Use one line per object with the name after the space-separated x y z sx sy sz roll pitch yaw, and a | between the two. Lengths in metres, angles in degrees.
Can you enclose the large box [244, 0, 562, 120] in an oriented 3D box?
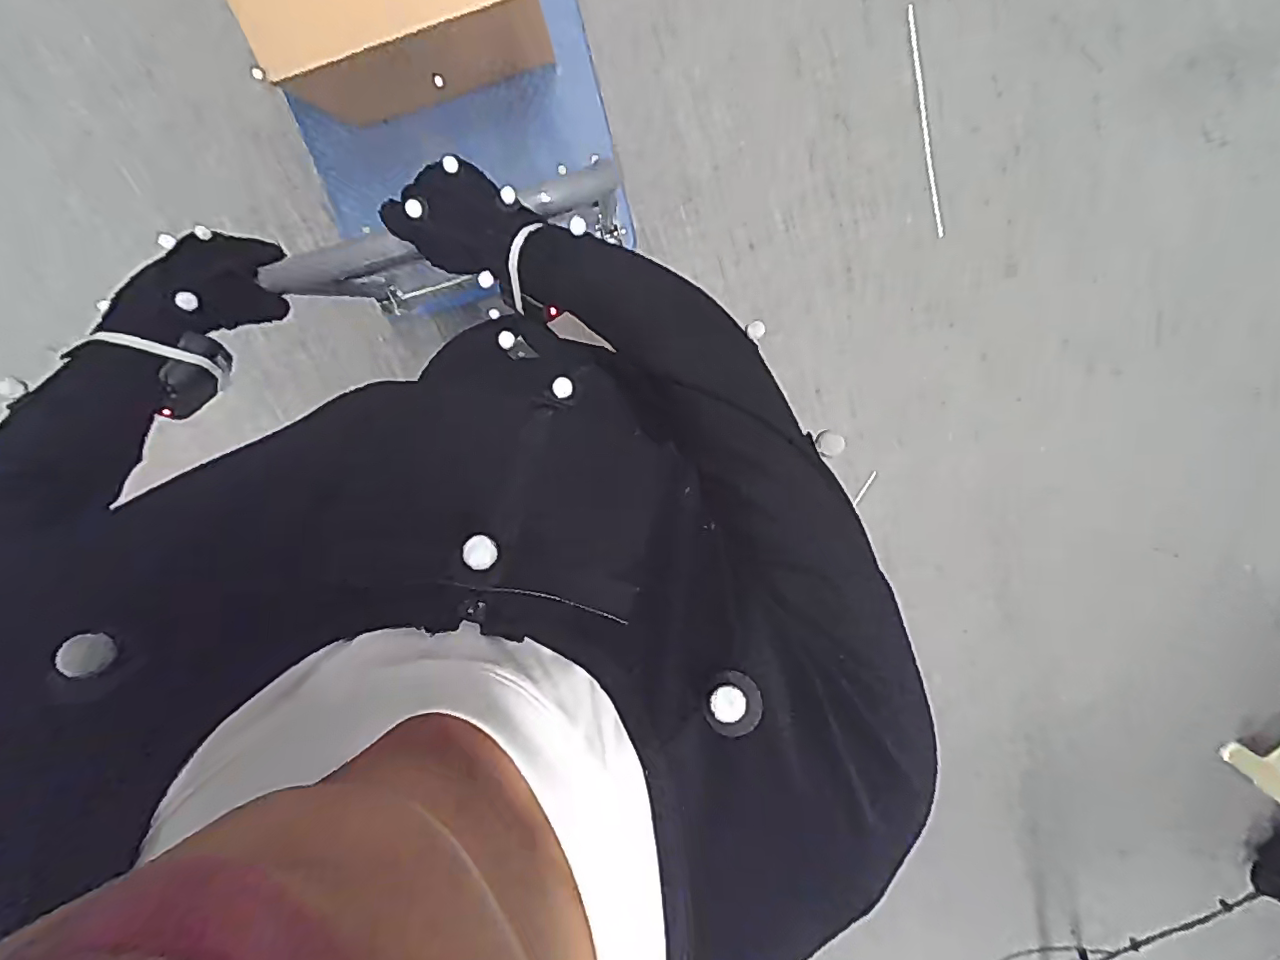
-0.371 -0.819 0.836 0.408 0.320 0.320 -16 113 5 | large box
